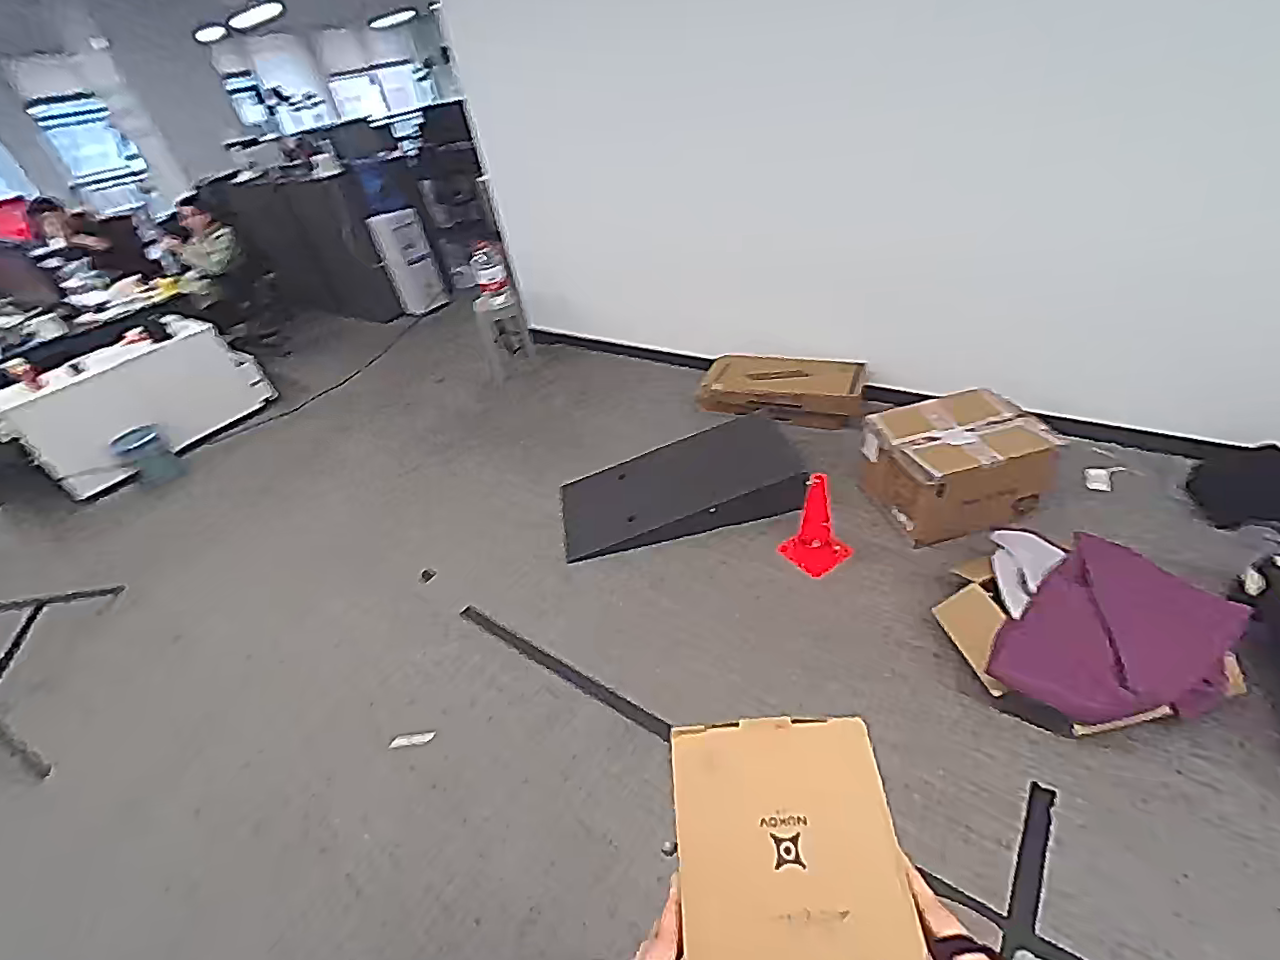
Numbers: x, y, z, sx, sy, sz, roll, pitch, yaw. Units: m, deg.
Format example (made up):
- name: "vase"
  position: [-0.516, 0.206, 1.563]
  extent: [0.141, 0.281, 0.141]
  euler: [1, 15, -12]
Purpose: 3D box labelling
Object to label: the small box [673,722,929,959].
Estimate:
- name: "small box"
  position: [0.115, 0.326, 0.466]
  extent: [0.168, 0.176, 0.179]
  euler: [-5, 52, 2]
